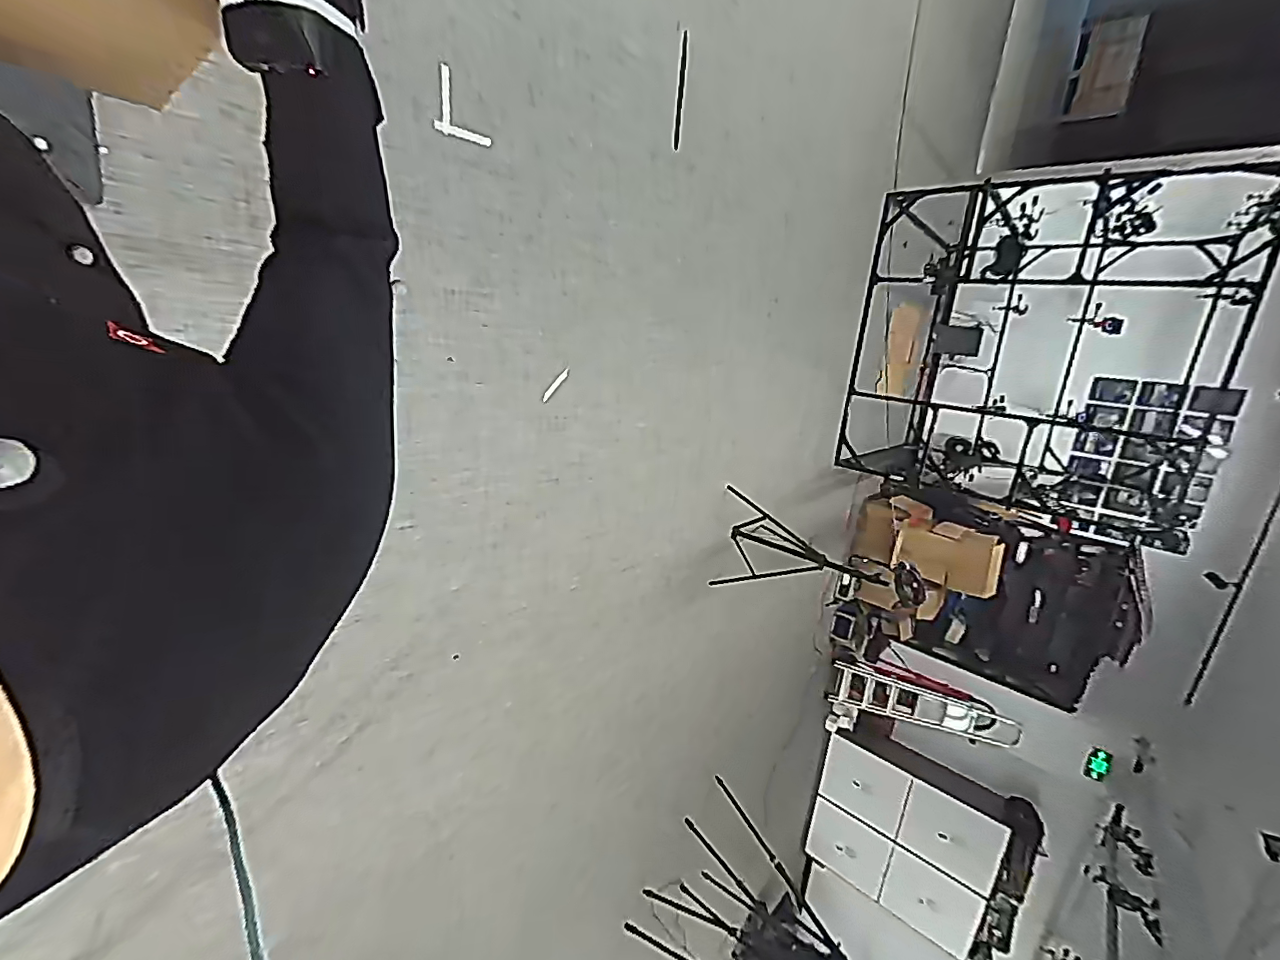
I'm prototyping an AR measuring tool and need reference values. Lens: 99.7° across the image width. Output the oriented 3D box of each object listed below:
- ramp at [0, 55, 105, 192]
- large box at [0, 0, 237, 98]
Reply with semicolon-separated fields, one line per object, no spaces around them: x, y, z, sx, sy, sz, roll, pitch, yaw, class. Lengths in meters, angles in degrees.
-1.049;-0.949;0.655;0.509;0.206;0.991;-15;116;-48;ramp
-0.497;-0.480;0.280;0.408;0.320;0.320;-10;109;-49;large box
